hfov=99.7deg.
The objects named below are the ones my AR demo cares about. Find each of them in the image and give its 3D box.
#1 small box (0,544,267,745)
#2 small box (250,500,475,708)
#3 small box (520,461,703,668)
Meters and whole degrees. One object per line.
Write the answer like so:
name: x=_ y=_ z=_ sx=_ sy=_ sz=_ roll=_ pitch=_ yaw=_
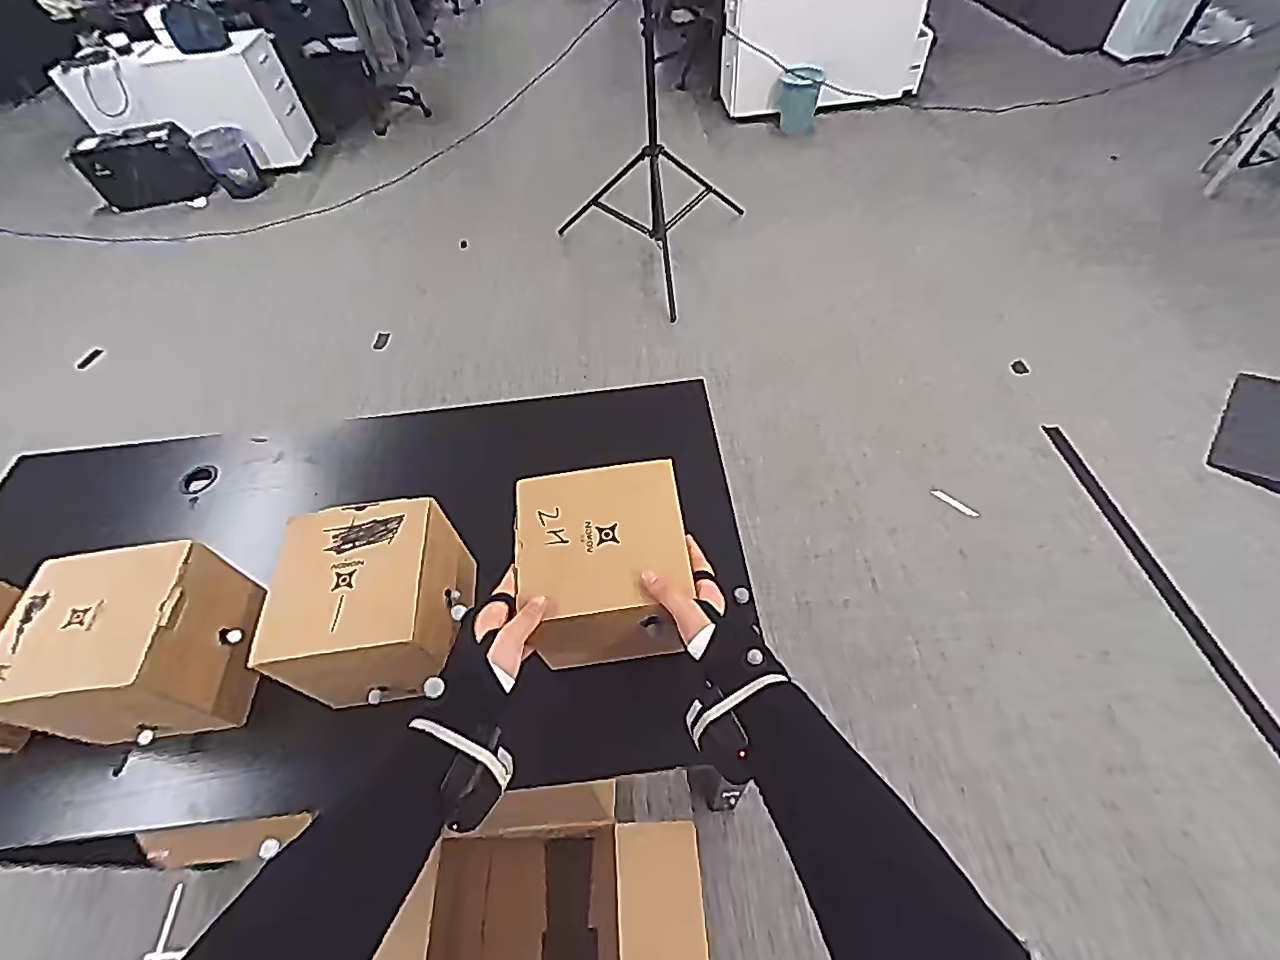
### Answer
small box: x=-0.569 y=0.194 z=0.626 sx=0.179 sy=0.176 sz=0.168 roll=-7 pitch=53 yaw=-2
small box: x=-0.301 y=0.148 z=0.636 sx=0.168 sy=0.176 sz=0.179 roll=-8 pitch=54 yaw=-1
small box: x=-0.030 y=0.101 z=0.616 sx=0.179 sy=0.176 sz=0.168 roll=-9 pitch=55 yaw=0
